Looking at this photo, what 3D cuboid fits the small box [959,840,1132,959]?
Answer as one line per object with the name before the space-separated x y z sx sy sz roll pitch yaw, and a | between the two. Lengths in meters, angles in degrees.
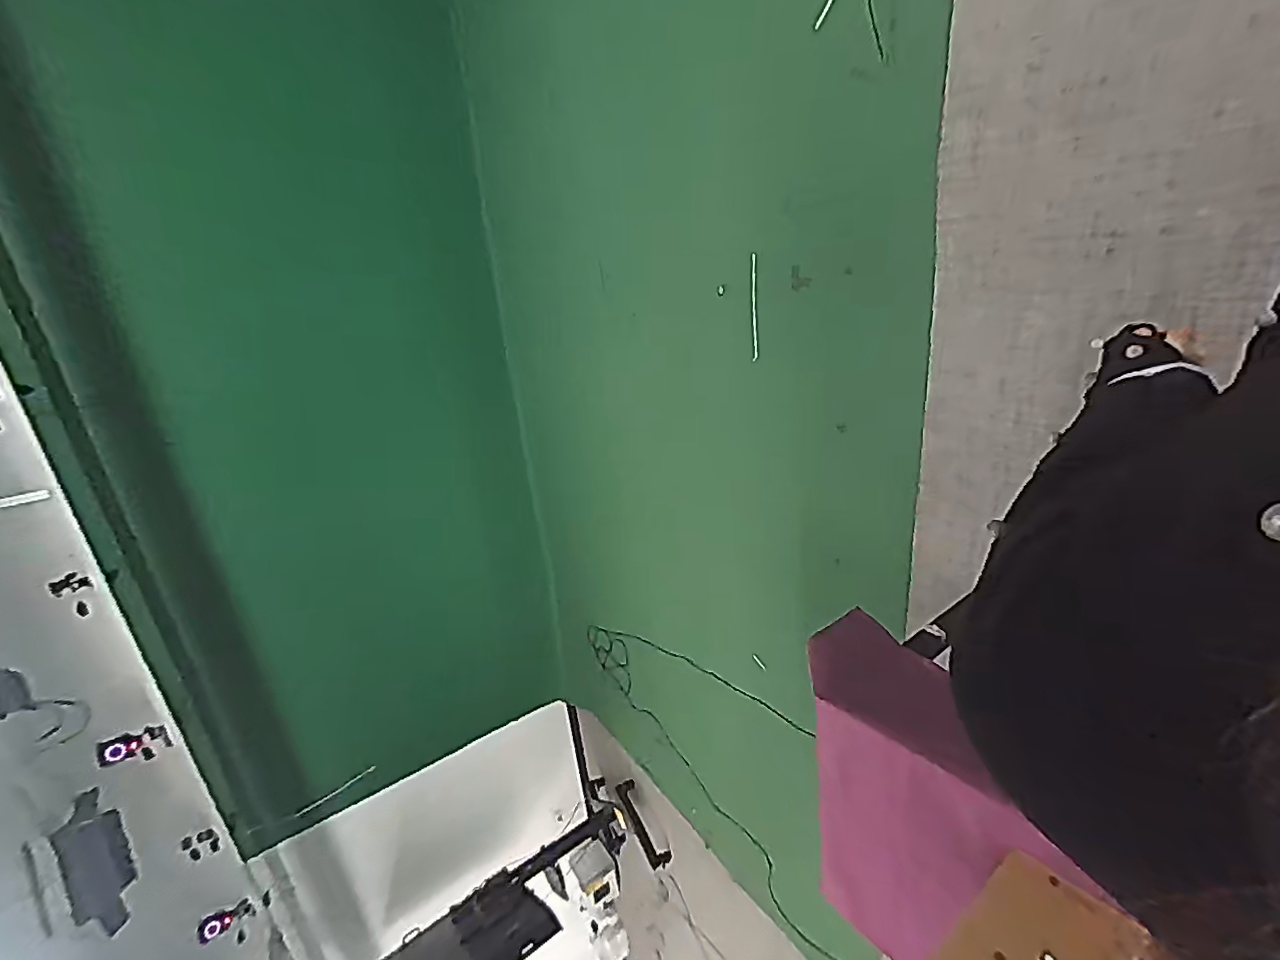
small box | 0.602 0.705 0.813 0.168 0.176 0.179 16 119 53
